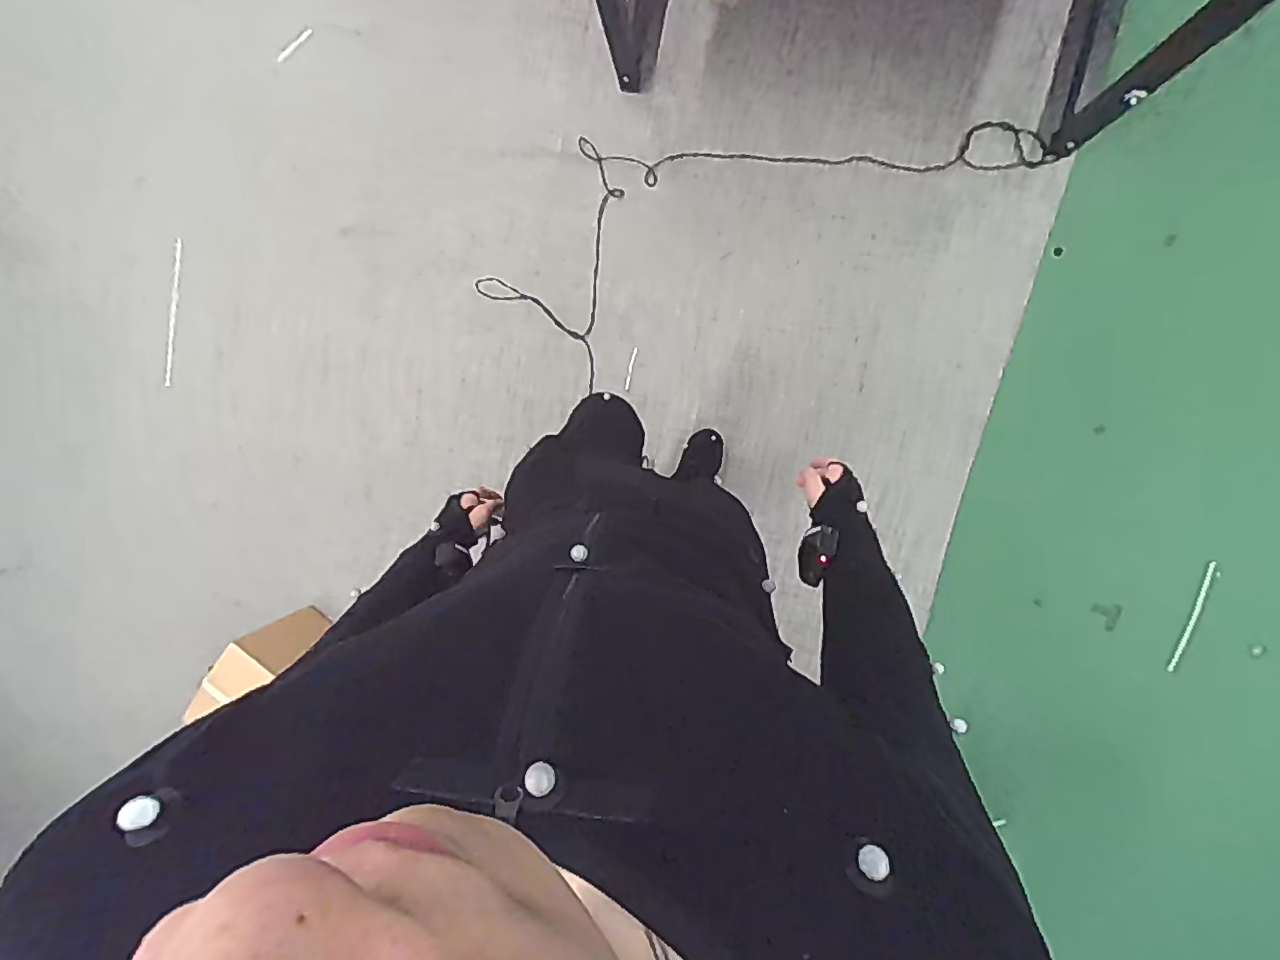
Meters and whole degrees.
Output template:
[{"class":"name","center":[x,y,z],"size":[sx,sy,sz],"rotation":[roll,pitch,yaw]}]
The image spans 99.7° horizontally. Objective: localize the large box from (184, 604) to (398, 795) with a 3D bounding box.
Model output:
[{"class":"large box","center":[-1.070,0.664,1.695],"size":[0.408,0.320,0.320],"rotation":[37,101,1]}]
